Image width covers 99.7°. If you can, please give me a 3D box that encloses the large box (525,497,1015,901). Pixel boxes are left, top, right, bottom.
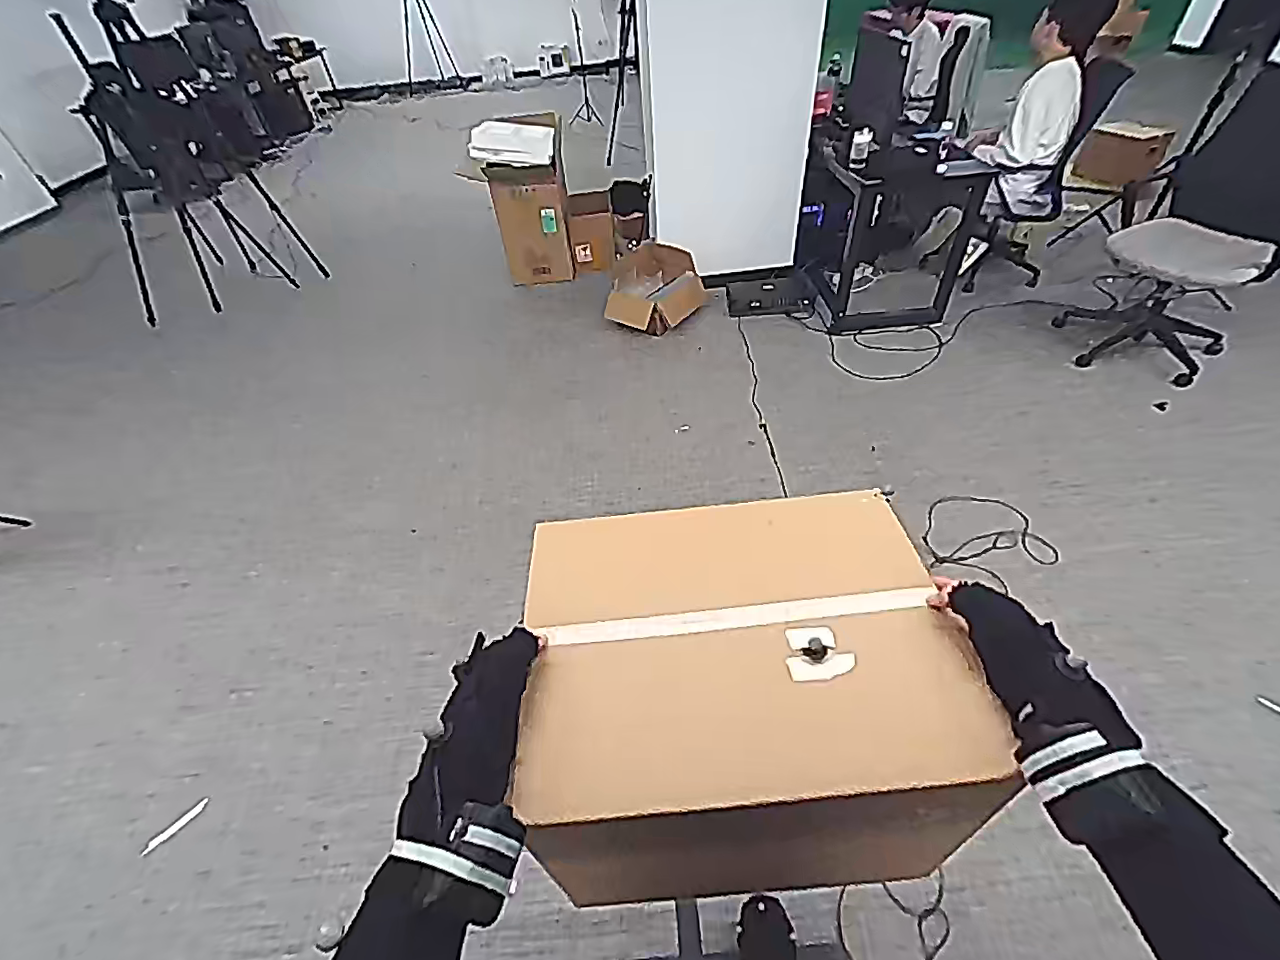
[{"bbox_3d":[0.105,0.253,0.636,0.408,0.320,0.320,-6,42,1],"label":"large box"}]
